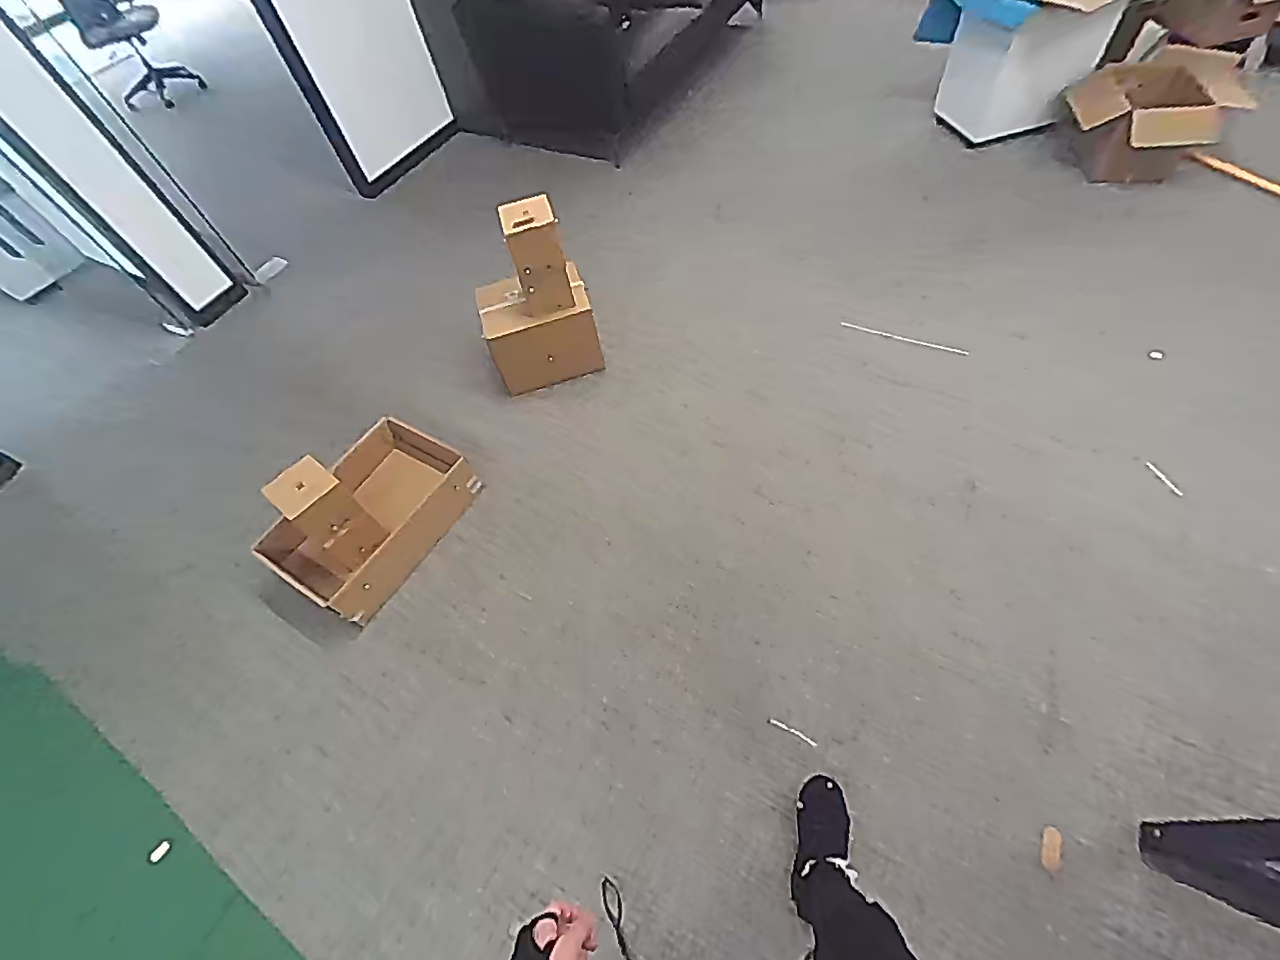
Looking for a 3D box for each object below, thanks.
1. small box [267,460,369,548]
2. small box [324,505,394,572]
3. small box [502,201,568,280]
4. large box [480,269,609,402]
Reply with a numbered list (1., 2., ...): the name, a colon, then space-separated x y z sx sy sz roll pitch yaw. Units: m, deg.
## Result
1. small box: -0.973 0.076 1.645 0.179 0.176 0.168 32 64 25
2. small box: -0.954 0.174 1.774 0.179 0.176 0.168 28 61 23
3. small box: -0.348 -0.793 1.811 0.168 0.176 0.179 -17 55 -3
4. large box: -0.376 -0.574 2.166 0.408 0.320 0.320 -19 55 -3
